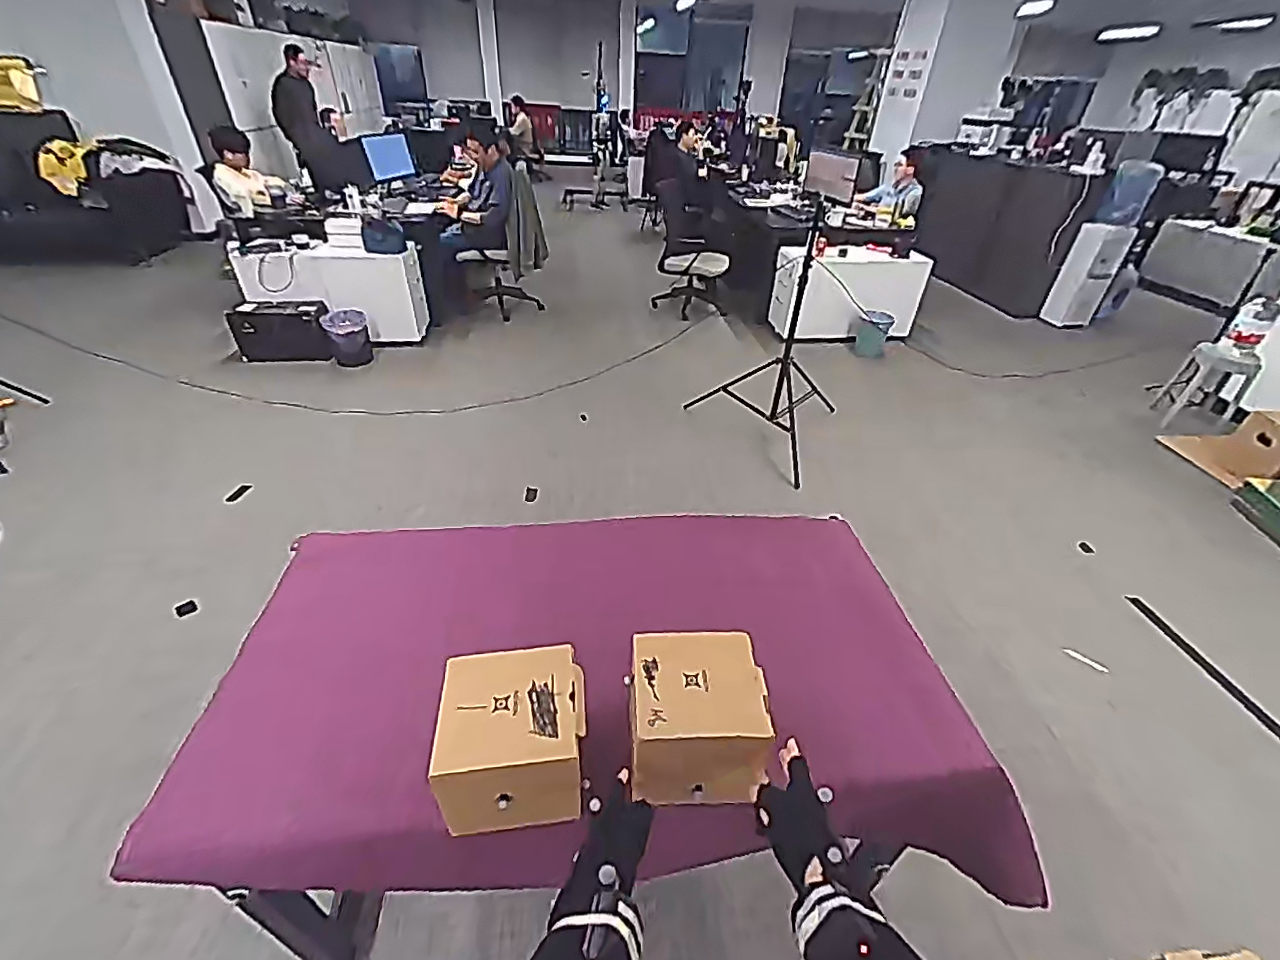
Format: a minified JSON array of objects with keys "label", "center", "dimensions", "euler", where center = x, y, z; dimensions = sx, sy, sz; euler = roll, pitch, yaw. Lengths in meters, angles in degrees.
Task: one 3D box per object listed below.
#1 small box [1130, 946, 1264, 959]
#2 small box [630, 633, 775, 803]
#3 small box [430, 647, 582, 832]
[{"label":"small box","center":[0.614,0.642,0.580],"dimensions":[0.168,0.176,0.179],"euler":[-3,38,-4]},{"label":"small box","center":[0.078,0.343,0.783],"dimensions":[0.179,0.176,0.168],"euler":[1,34,-3]},{"label":"small box","center":[-0.171,0.357,0.750],"dimensions":[0.179,0.176,0.168],"euler":[-4,35,-6]}]
